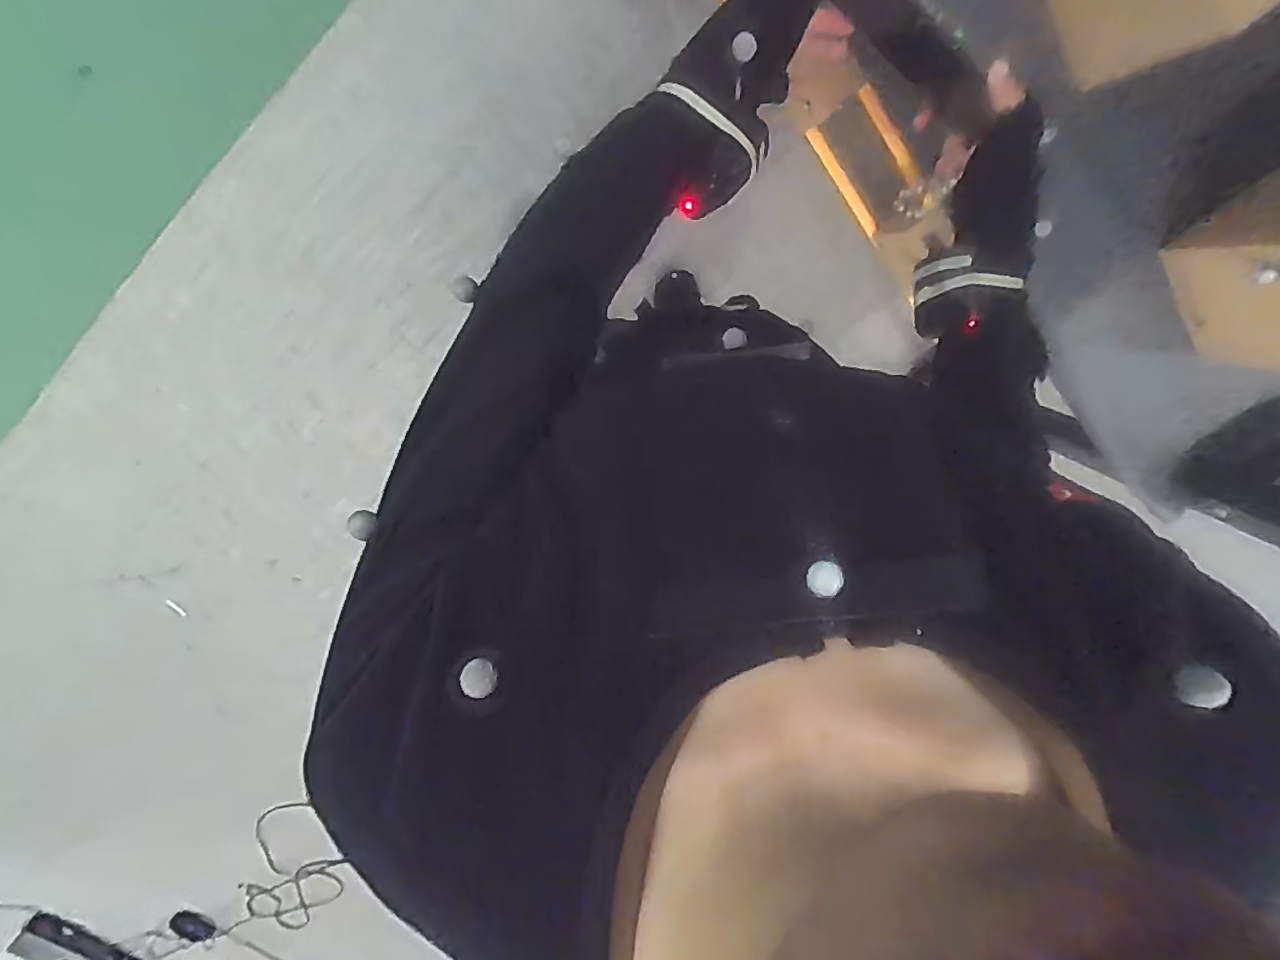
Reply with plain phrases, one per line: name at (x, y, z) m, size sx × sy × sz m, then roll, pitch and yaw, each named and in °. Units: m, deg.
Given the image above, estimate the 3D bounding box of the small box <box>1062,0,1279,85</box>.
small box at (0.486, -0.486, 0.453) m, size 0.168 × 0.176 × 0.179 m, roll -36°, pitch 108°, yaw 13°

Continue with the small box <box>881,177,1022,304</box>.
small box at (0.631, -0.490, 1.124) m, size 0.179 × 0.176 × 0.168 m, roll -35°, pitch 108°, yaw 13°
